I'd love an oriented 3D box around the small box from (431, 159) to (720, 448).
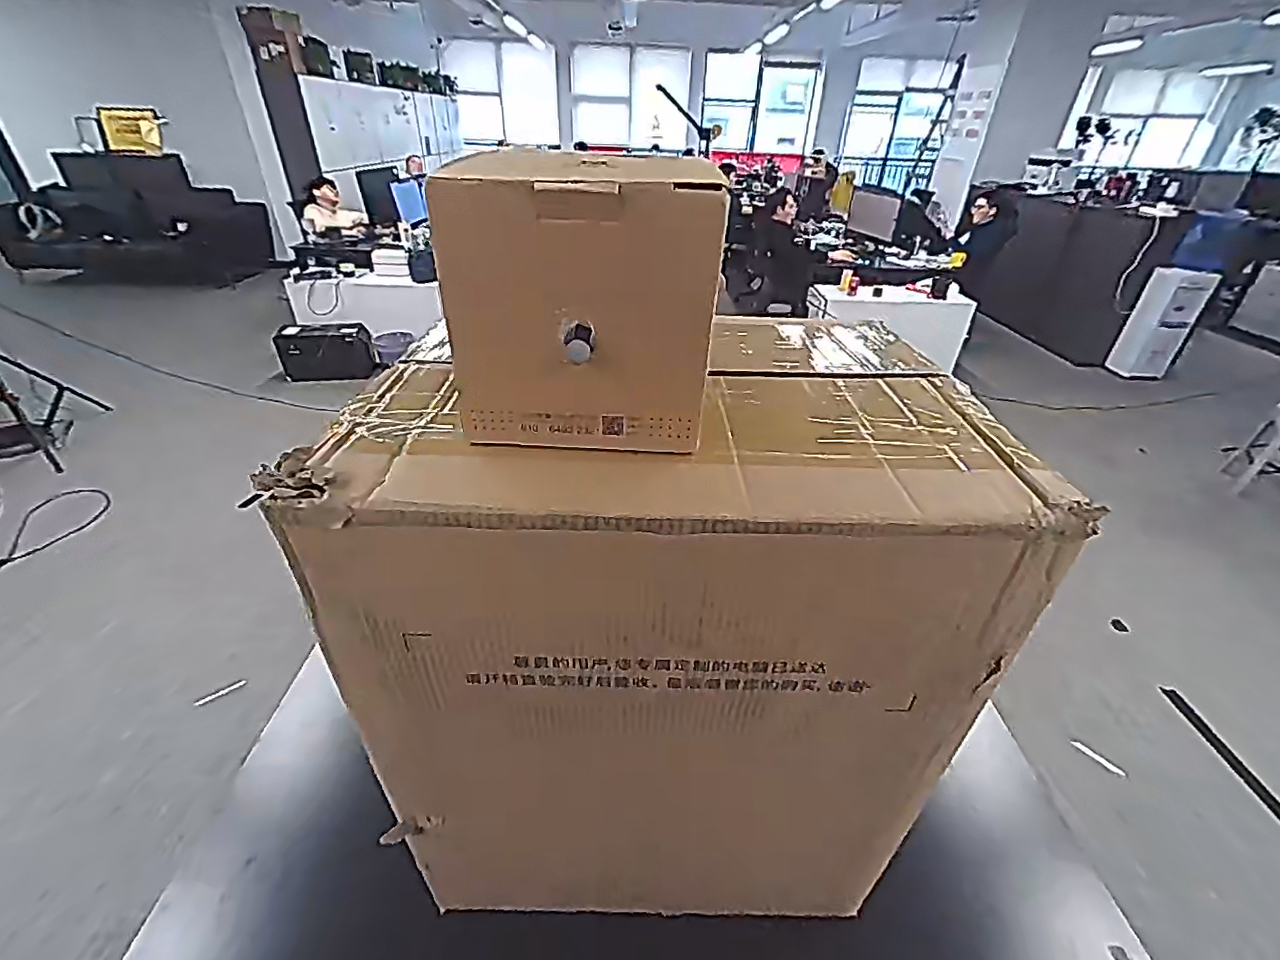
[{"bbox_3d":[-0.035,-0.136,0.411,0.168,0.176,0.179,2,36,-1],"label":"small box"}]
